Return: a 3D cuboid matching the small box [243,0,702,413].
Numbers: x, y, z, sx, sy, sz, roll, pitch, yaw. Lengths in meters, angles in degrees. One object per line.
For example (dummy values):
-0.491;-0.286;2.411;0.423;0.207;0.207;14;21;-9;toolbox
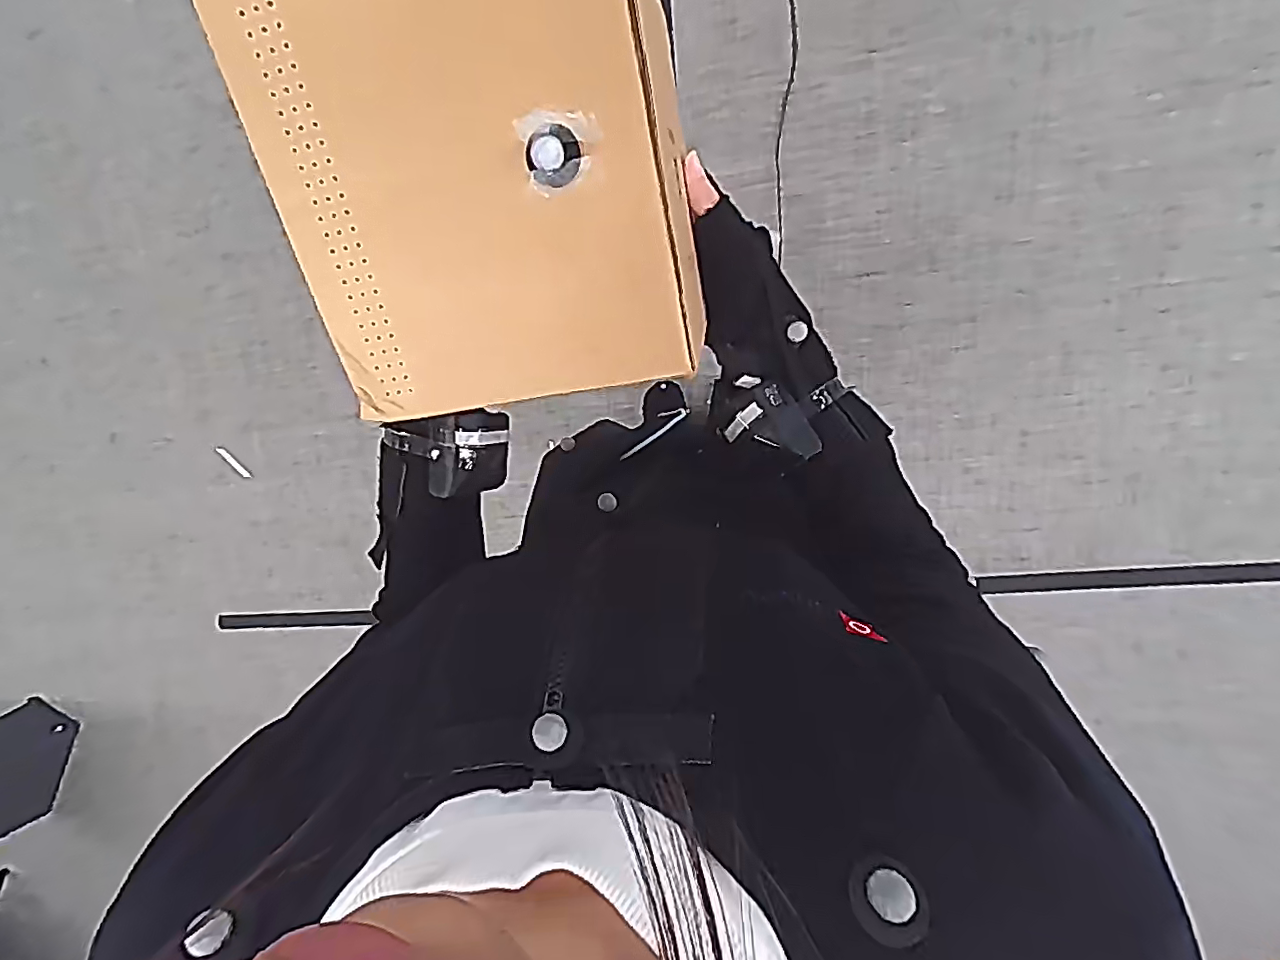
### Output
-0.063;-0.151;0.302;0.176;0.168;0.179;-7;112;12;small box
